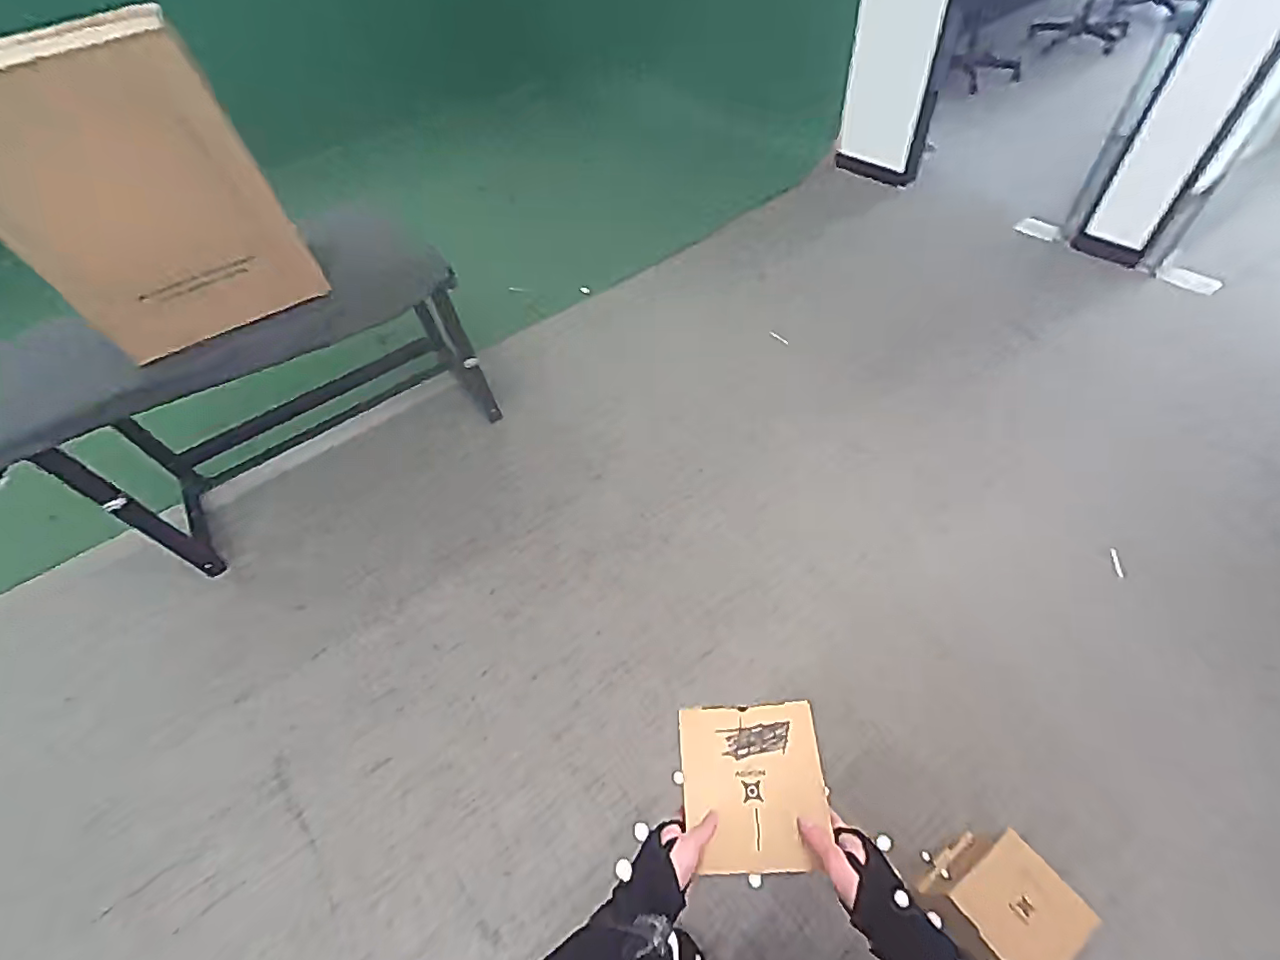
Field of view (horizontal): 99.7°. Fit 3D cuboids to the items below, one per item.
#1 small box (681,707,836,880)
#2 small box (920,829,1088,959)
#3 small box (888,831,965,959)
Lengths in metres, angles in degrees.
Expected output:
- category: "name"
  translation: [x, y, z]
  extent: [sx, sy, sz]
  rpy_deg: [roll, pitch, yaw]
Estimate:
- category: "small box"
  translation: [0.140, 0.404, 0.696]
  extent: [0.168, 0.176, 0.179]
  rpy_deg: [-4, 56, 7]
- category: "small box"
  translation: [0.648, 0.783, 0.990]
  extent: [0.179, 0.176, 0.168]
  rpy_deg: [-31, 57, -19]
- category: "small box"
  translation: [0.662, 0.887, 1.139]
  extent: [0.168, 0.176, 0.179]
  rpy_deg: [-32, 57, -20]
